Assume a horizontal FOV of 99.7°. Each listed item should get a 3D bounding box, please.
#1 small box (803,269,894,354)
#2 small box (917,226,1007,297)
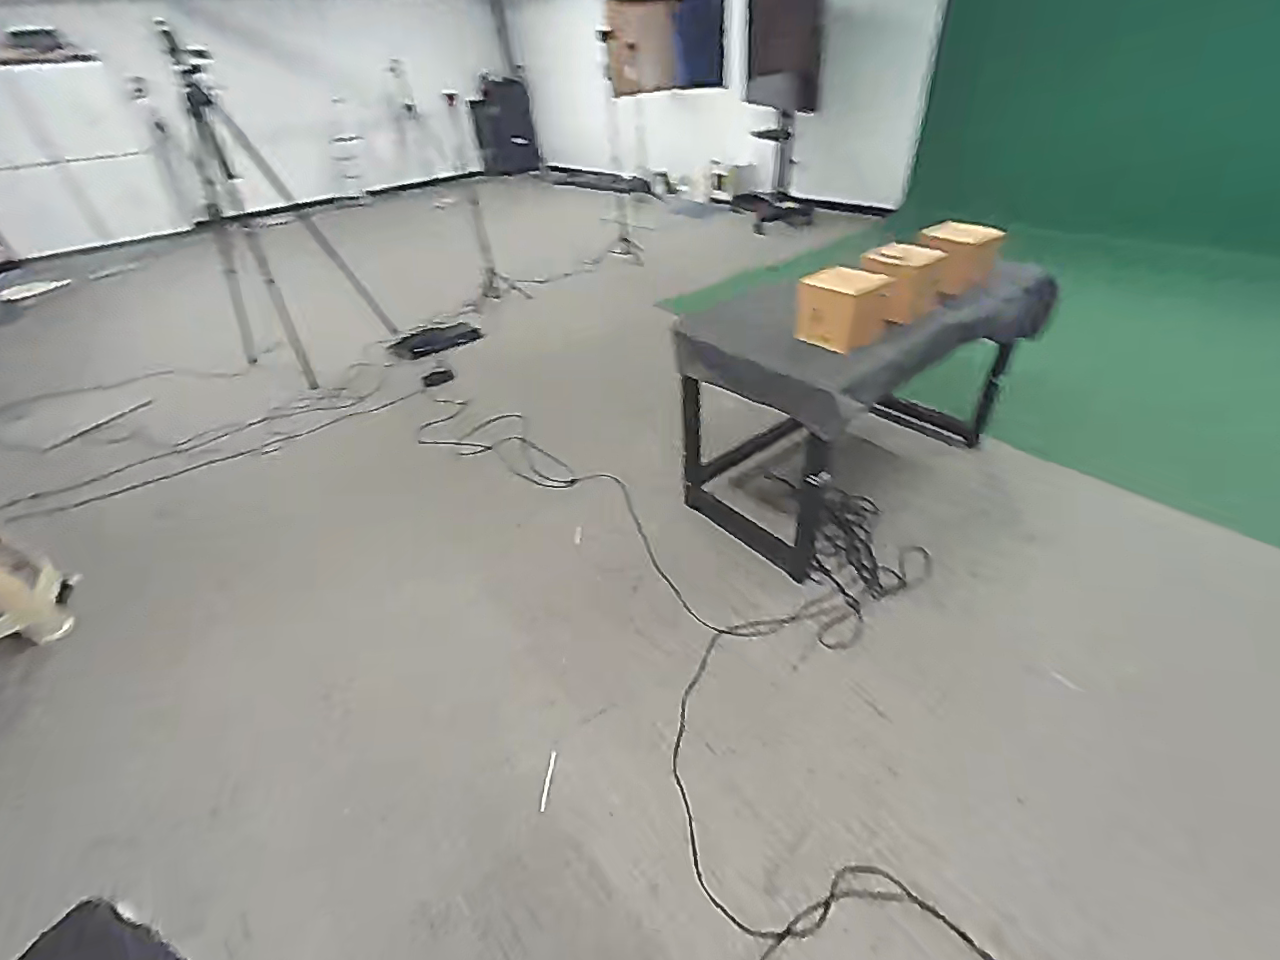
[{"bbox_3d":[0.573,-0.468,1.503,0.179,0.176,0.168,-28,42,-28],"label":"small box"},{"bbox_3d":[1.043,-0.713,1.767,0.168,0.176,0.179,-24,42,-21],"label":"small box"}]
